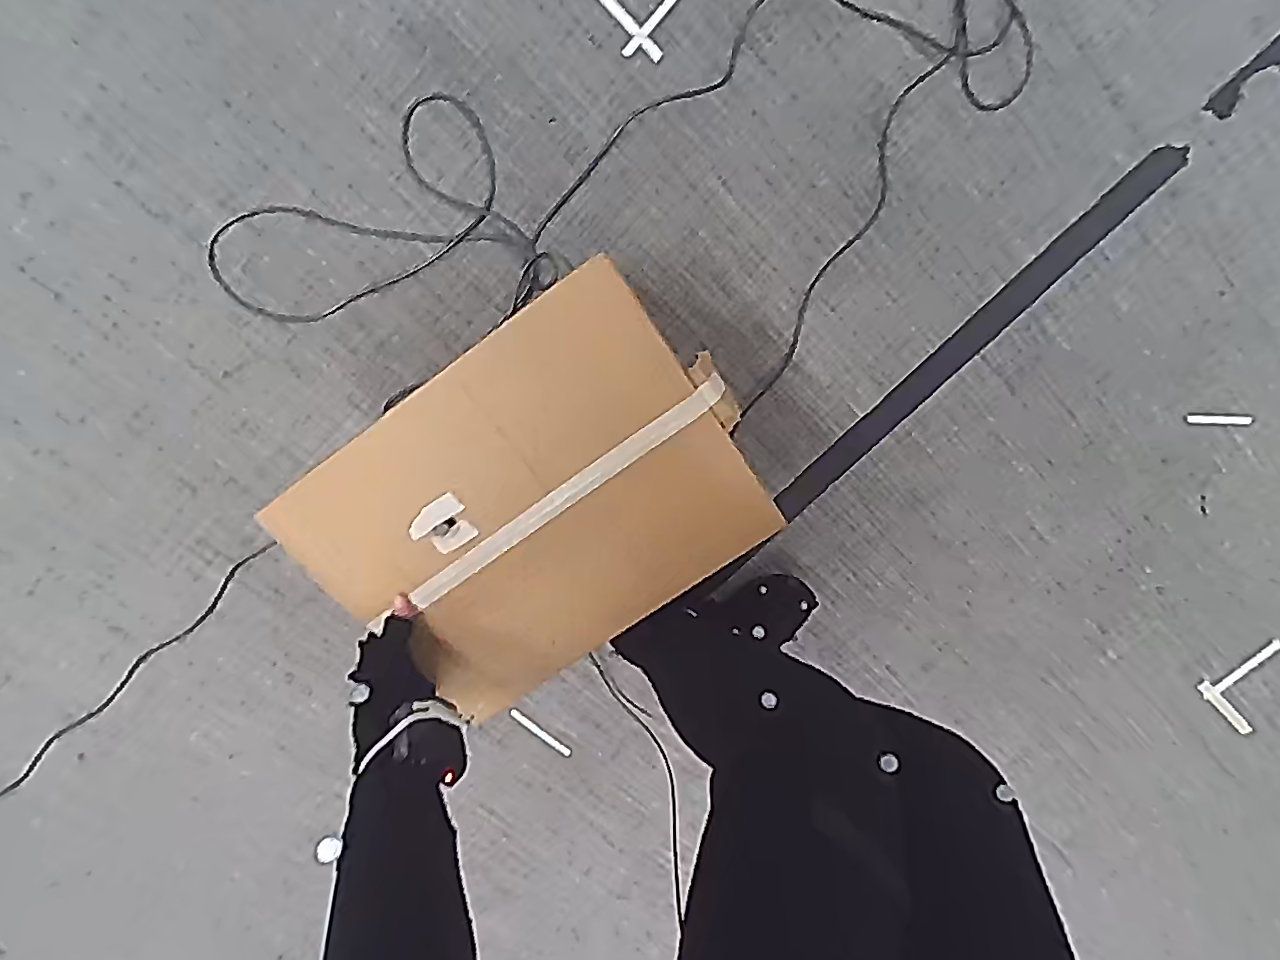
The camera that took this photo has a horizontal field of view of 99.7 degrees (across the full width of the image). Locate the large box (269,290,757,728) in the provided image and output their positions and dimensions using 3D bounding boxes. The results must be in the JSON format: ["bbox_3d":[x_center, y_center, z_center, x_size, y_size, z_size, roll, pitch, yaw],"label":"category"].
[{"bbox_3d":[-0.129,0.009,0.687,0.408,0.320,0.320,-35,106,9],"label":"large box"}]
